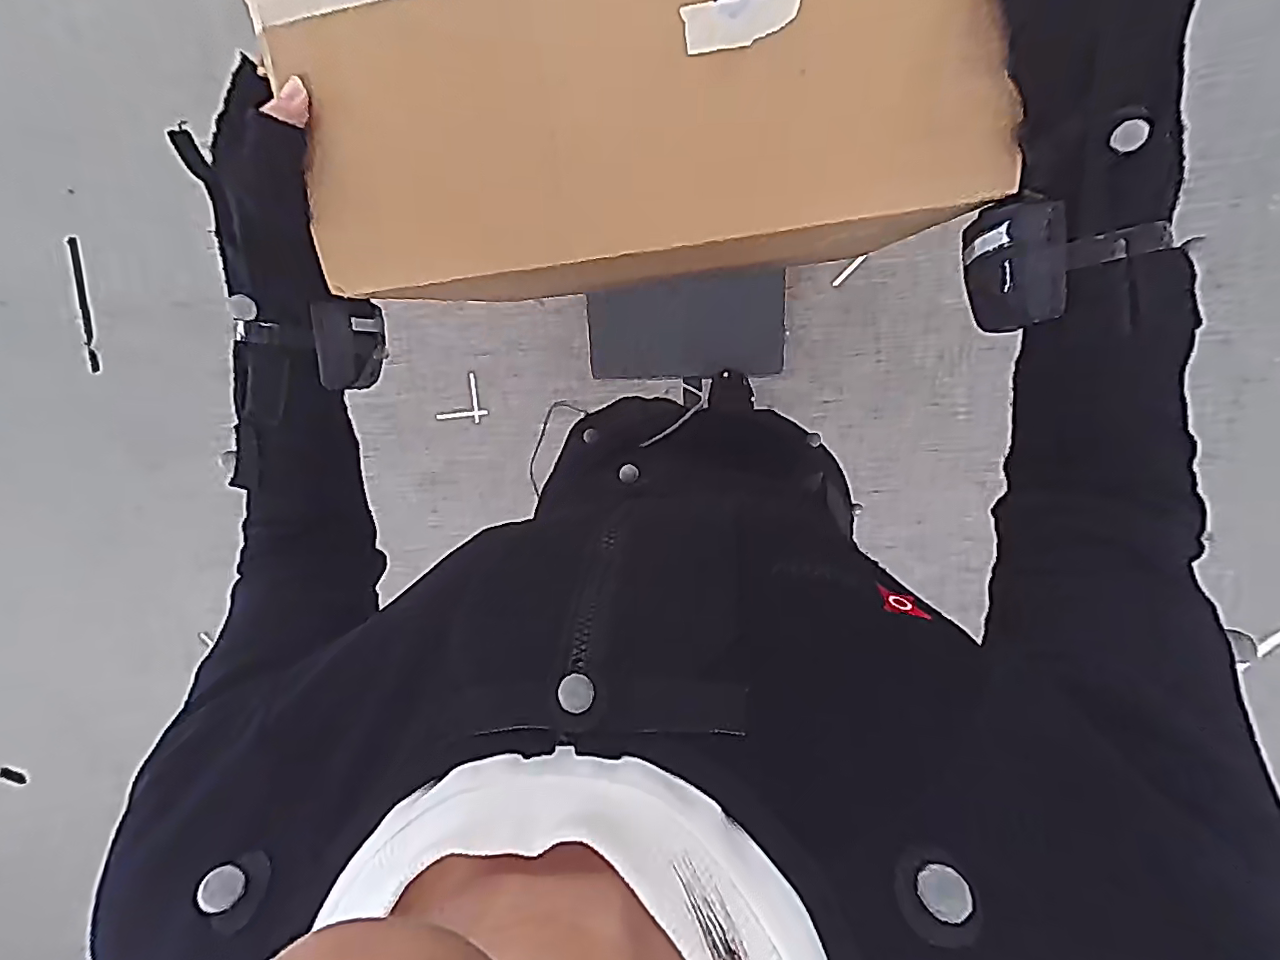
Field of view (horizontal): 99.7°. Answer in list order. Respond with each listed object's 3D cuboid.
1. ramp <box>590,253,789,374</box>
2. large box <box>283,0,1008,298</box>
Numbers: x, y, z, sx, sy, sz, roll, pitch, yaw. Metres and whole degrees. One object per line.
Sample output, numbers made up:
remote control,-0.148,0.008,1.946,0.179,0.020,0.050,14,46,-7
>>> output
ramp,0.097,-0.751,1.231,0.509,0.206,0.991,-2,99,9
large box,0.002,-0.337,0.428,0.408,0.320,0.320,-5,107,10
